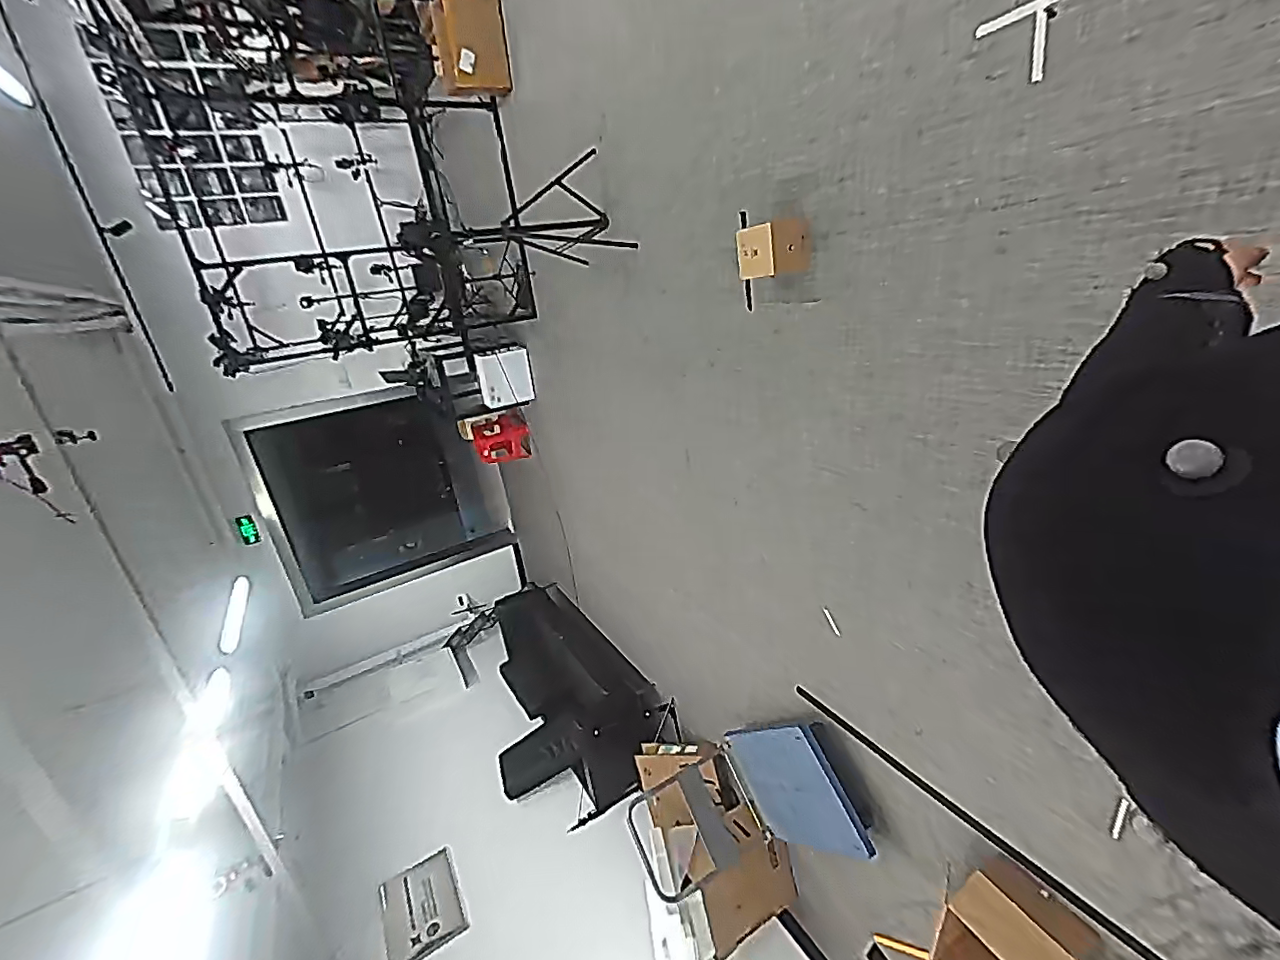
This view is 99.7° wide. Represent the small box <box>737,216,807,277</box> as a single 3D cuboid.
[{"bbox_3d":[0.463,-0.807,1.872,0.179,0.176,0.168,24,127,57],"label":"small box"}]
